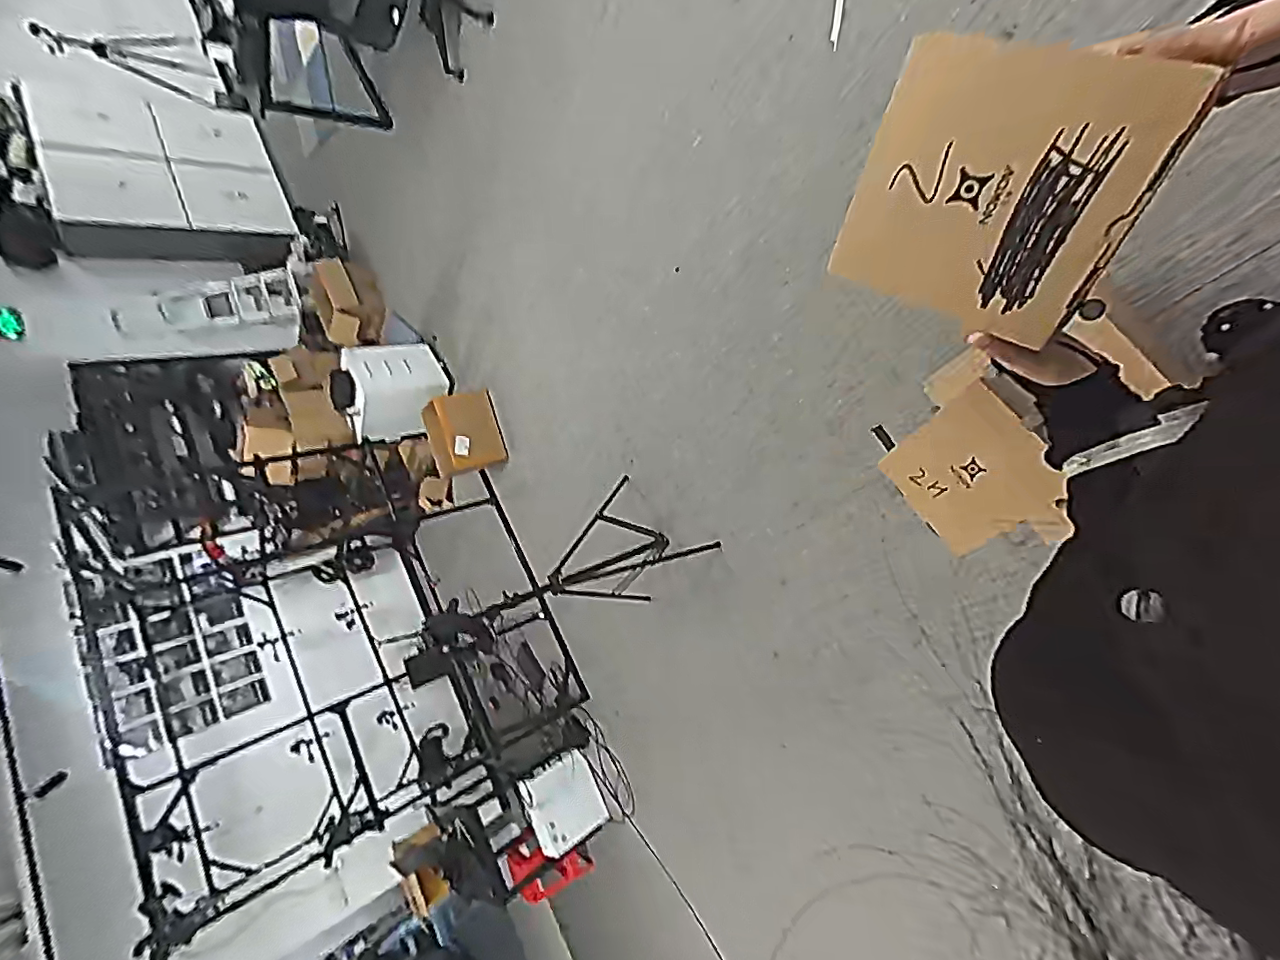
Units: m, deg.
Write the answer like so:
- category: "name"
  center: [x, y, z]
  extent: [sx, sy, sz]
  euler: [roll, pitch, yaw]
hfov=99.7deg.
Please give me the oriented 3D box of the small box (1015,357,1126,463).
- category: "small box"
  center: [0.602, -0.073, 0.838]
  extent: [0.168, 0.176, 0.179]
  euler: [60, 140, 18]

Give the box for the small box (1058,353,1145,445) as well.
- category: "small box"
  center: [0.722, -0.102, 0.943]
  extent: [0.168, 0.176, 0.179]
  euler: [60, 138, 16]

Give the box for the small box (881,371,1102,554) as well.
- category: "small box"
  center: [0.479, -0.031, 0.736]
  extent: [0.168, 0.176, 0.179]
  euler: [57, 138, 21]
